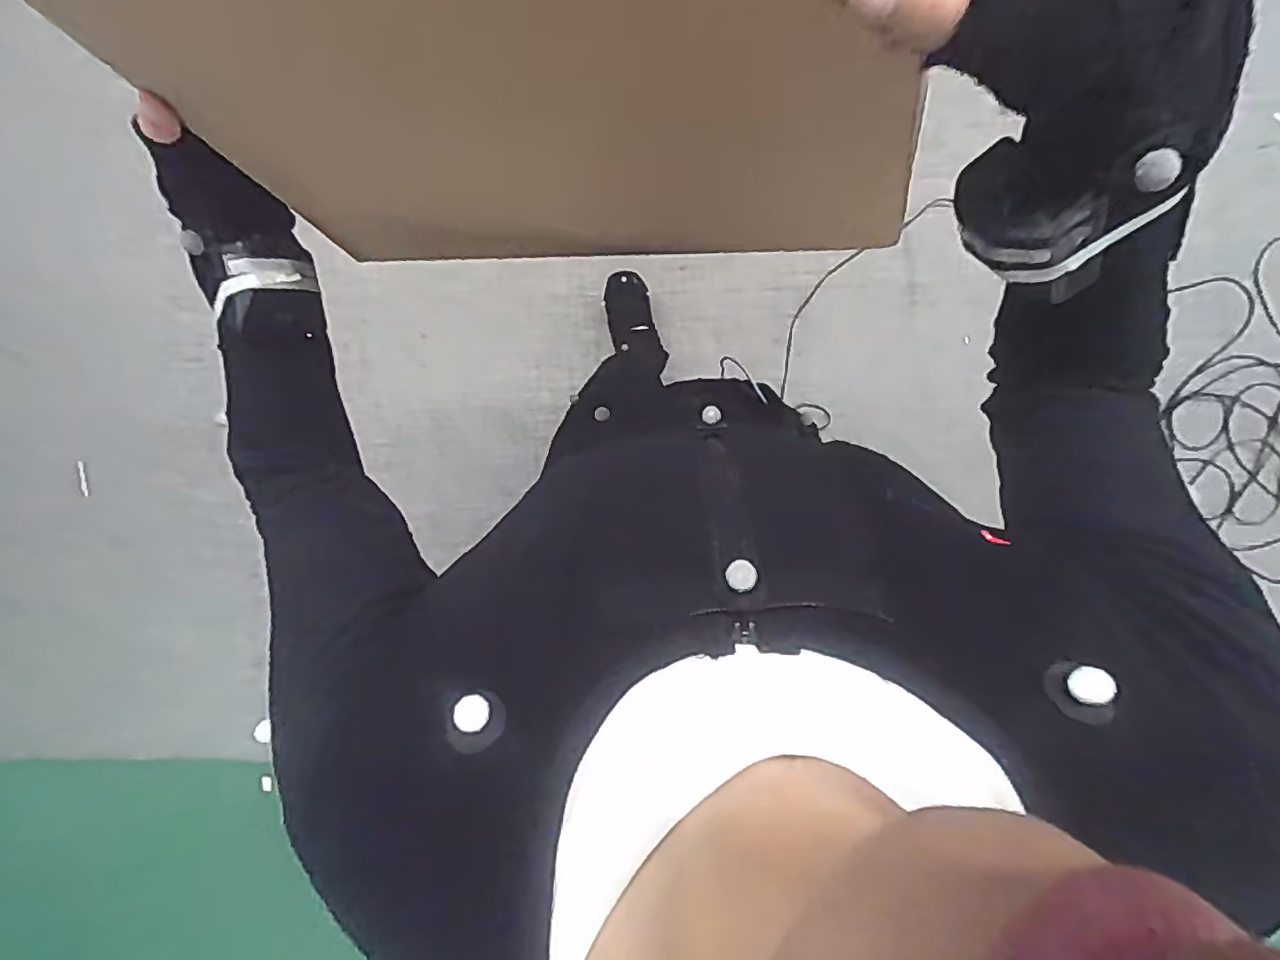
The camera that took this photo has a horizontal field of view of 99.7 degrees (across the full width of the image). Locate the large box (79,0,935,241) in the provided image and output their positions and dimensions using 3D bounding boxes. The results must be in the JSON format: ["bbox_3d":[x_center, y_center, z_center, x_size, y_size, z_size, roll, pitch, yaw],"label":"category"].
[{"bbox_3d":[-0.060,-0.347,0.258,0.408,0.320,0.320,10,78,22],"label":"large box"}]
